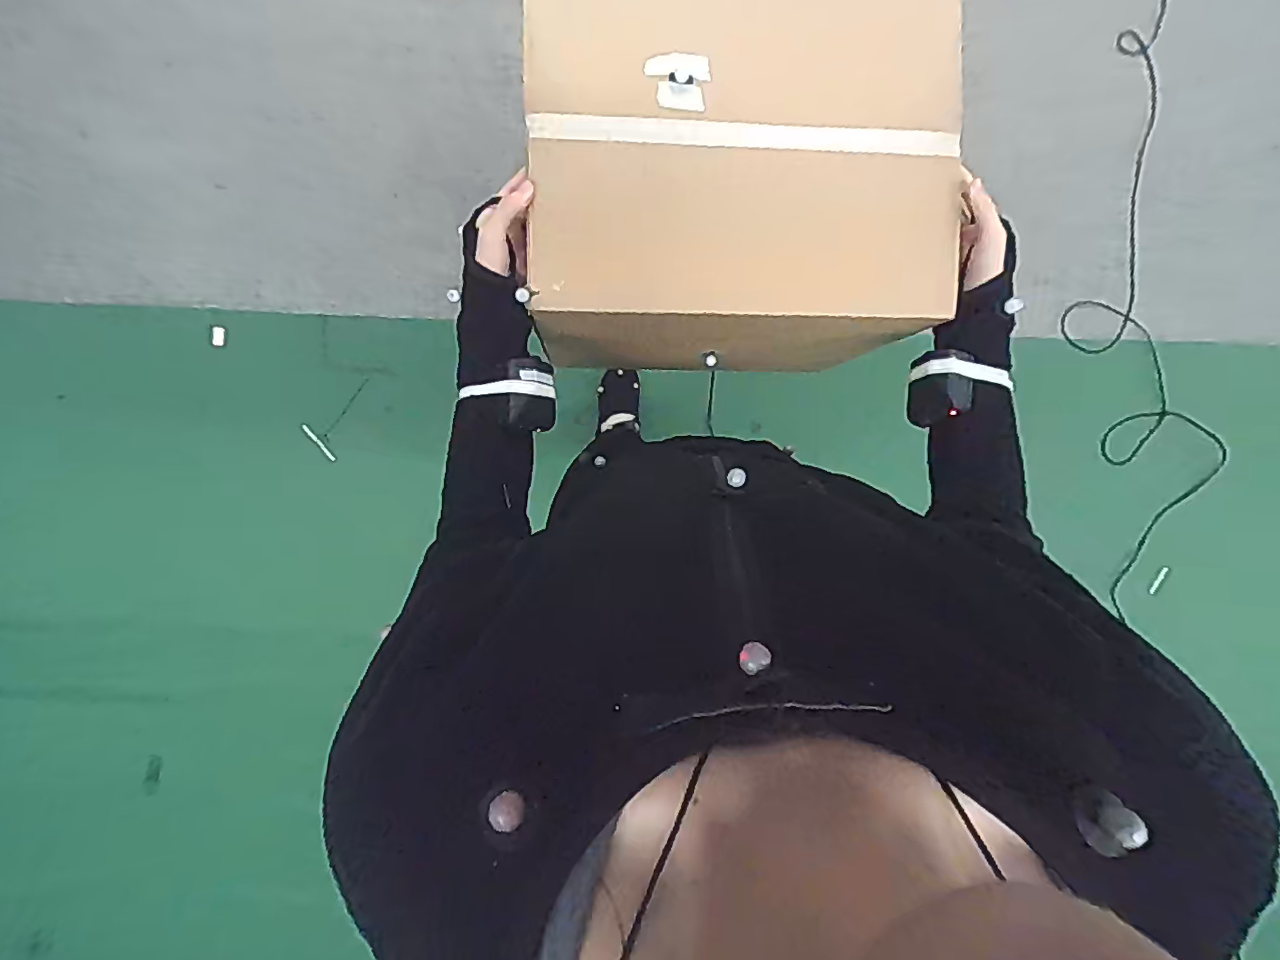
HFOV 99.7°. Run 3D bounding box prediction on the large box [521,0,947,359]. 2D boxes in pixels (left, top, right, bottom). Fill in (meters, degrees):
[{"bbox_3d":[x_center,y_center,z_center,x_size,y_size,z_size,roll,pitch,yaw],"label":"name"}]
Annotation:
[{"bbox_3d":[0.084,-0.322,0.652,0.408,0.320,0.320,0,92,-4],"label":"large box"}]
